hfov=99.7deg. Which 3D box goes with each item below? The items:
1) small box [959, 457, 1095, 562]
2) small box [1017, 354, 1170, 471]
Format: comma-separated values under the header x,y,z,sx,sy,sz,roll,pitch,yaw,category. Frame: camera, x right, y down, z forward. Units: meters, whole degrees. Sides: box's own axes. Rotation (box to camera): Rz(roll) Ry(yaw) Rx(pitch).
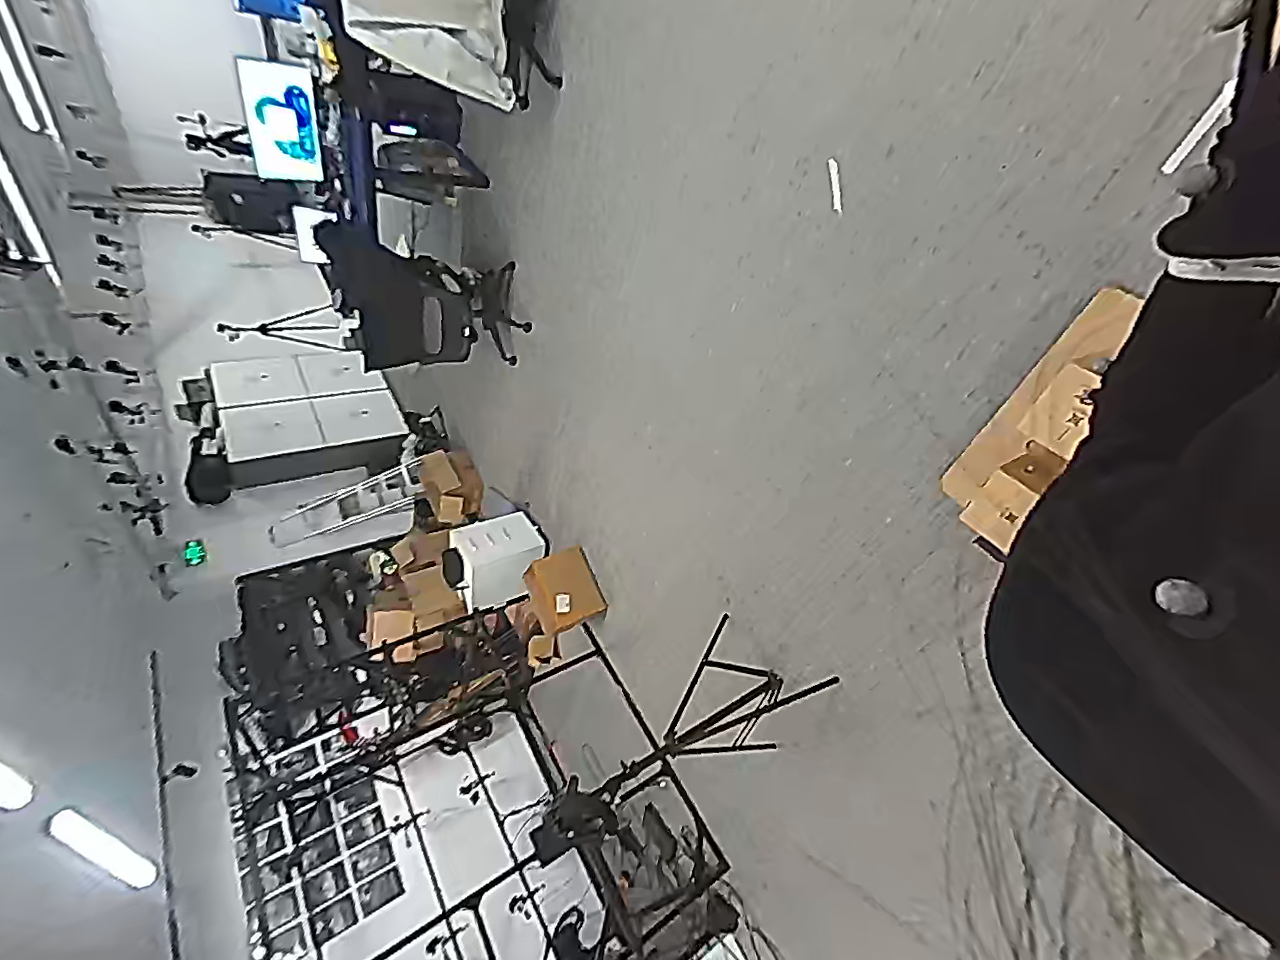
x,y,z,sx,sy,sz,roll,pitch,yaw,category
0.922,0.062,1.292,0.179,0.176,0.168,47,139,34,small box
0.960,-0.150,1.144,0.168,0.176,0.179,48,139,34,small box
